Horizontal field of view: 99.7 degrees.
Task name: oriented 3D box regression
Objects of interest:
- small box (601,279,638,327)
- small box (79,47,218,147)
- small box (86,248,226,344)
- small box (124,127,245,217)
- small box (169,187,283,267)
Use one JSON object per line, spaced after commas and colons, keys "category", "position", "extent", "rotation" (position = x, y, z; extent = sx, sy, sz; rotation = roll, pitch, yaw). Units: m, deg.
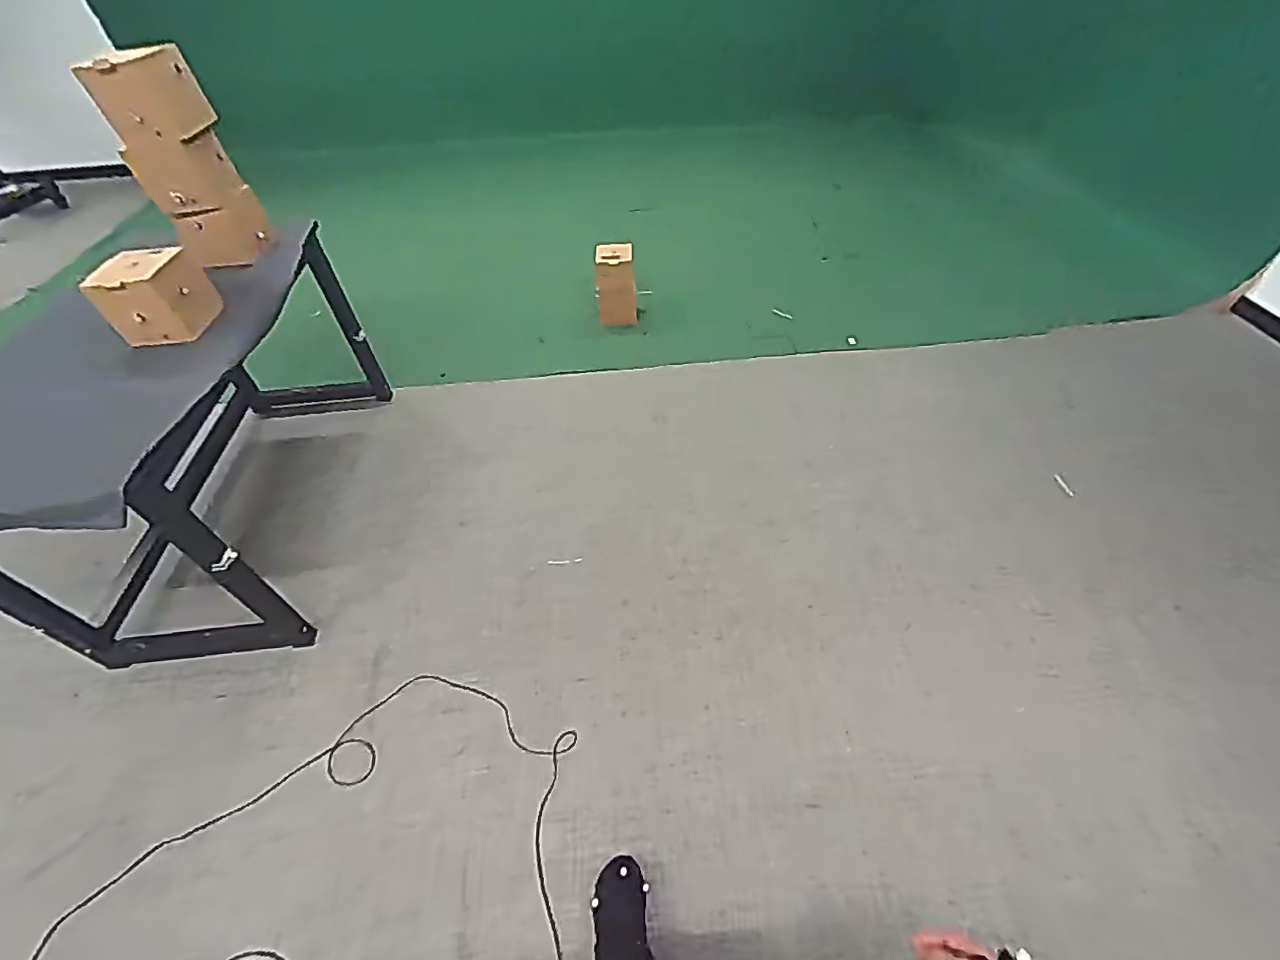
{"category": "small box", "position": [-0.098, -0.869, 2.659], "extent": [0.179, 0.176, 0.168], "rotation": [-2, 49, 1]}
{"category": "small box", "position": [-1.237, -0.978, 1.383], "extent": [0.168, 0.176, 0.179], "rotation": [-6, 49, 3]}
{"category": "small box", "position": [-1.200, -0.456, 1.360], "extent": [0.168, 0.176, 0.179], "rotation": [-5, 49, 0]}
{"category": "small box", "position": [-1.245, -0.857, 1.498], "extent": [0.168, 0.176, 0.179], "rotation": [-9, 50, -1]}
{"category": "small box", "position": [-1.234, -0.758, 1.627], "extent": [0.179, 0.176, 0.168], "rotation": [-2, 49, 3]}
